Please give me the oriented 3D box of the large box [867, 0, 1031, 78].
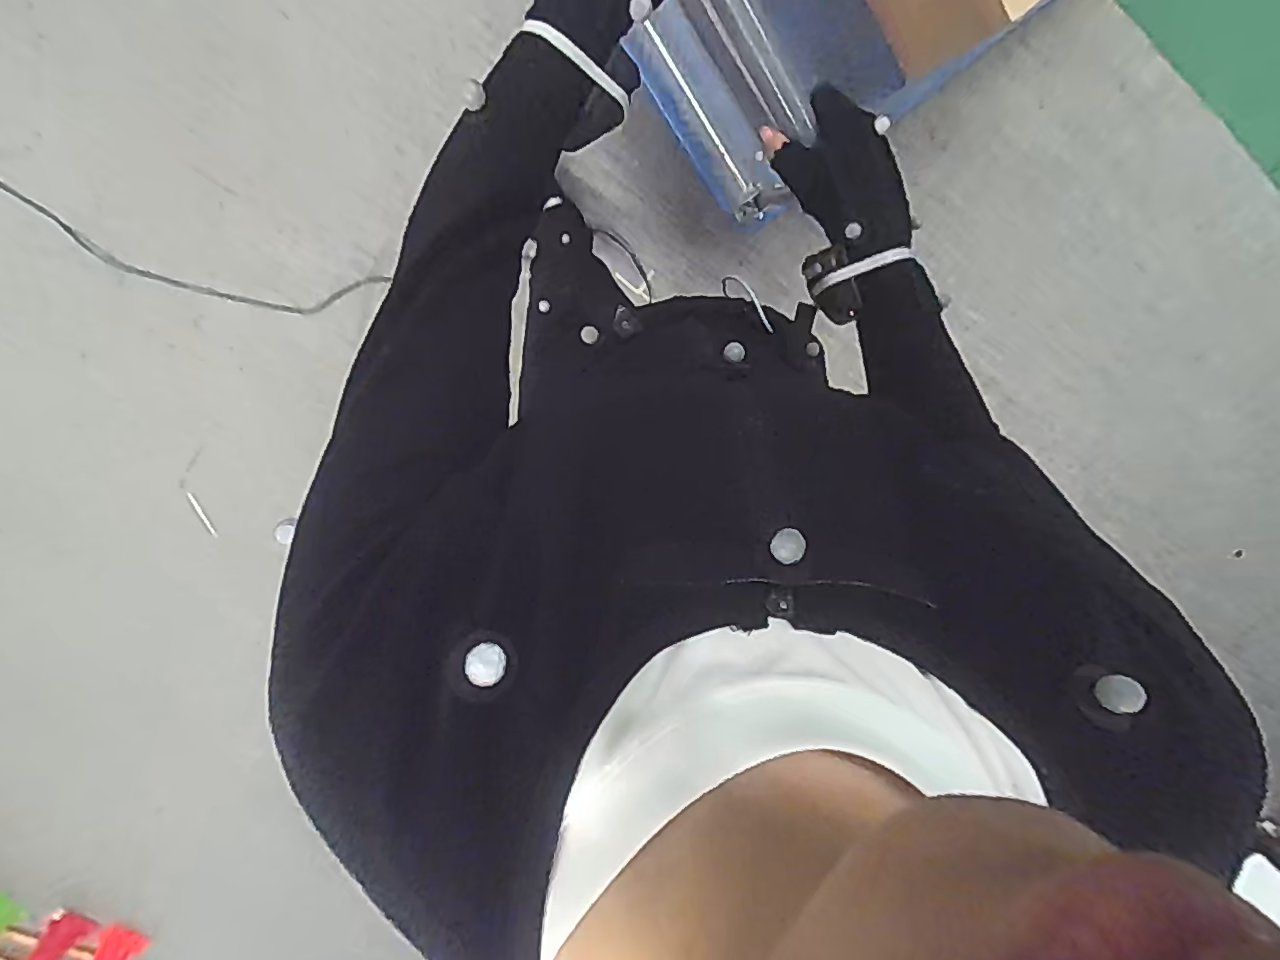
[{"bbox_3d":[0.483,-0.906,0.769,0.320,0.320,0.408,-37,108,15],"label":"large box"}]
